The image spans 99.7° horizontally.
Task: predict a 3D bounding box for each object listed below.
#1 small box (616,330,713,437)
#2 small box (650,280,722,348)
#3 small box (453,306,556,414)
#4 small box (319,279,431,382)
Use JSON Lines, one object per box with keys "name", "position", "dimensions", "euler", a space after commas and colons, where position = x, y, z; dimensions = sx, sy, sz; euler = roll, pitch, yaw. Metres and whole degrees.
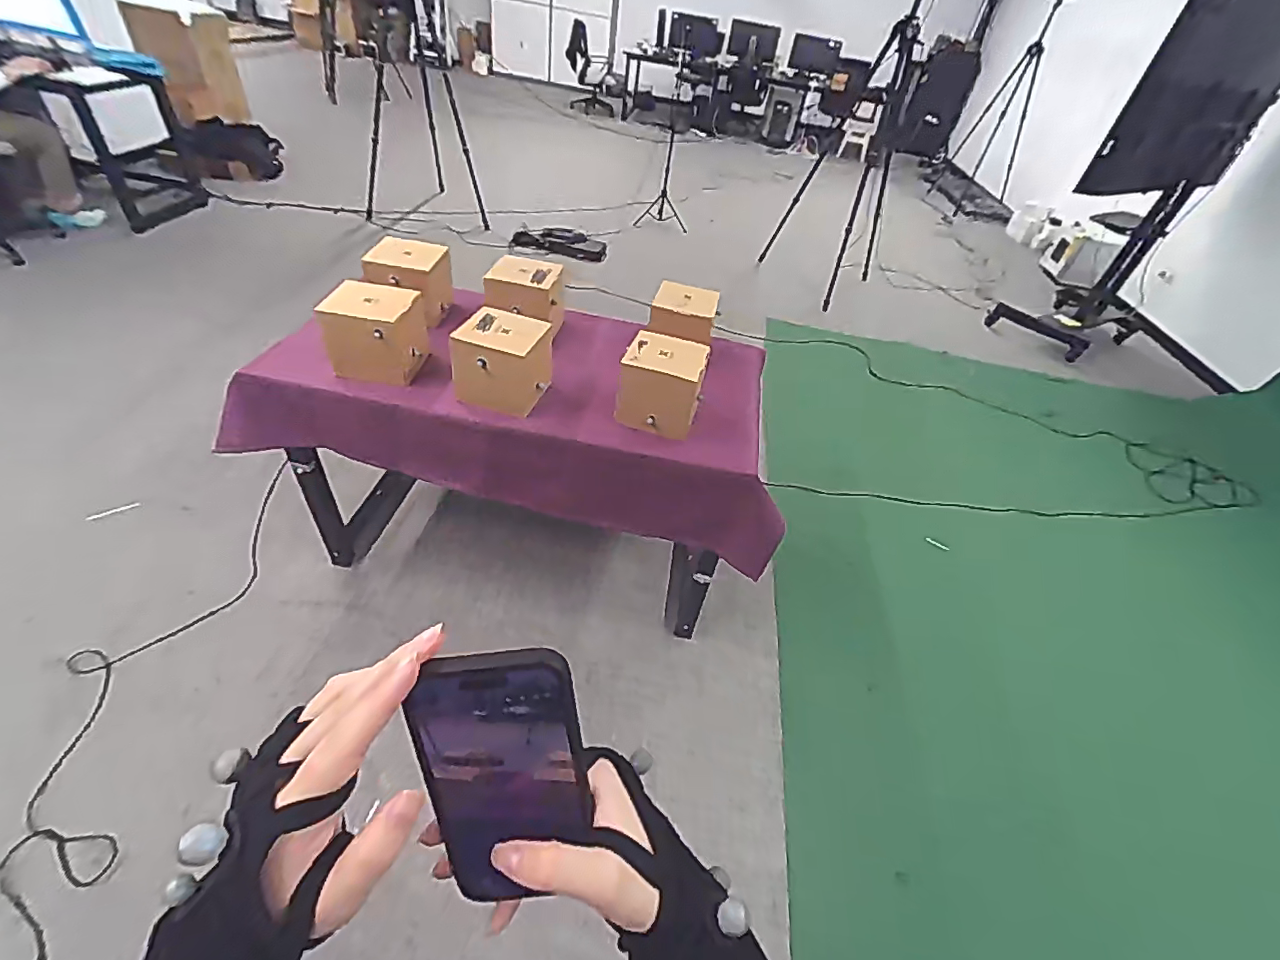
{"name": "small box", "position": [0.056, -0.224, 1.277], "dimensions": [0.179, 0.176, 0.168], "euler": [17, 43, 6]}
{"name": "small box", "position": [0.122, -0.428, 1.506], "dimensions": [0.168, 0.176, 0.179], "euler": [14, 44, 4]}
{"name": "small box", "position": [-0.311, -0.278, 1.261], "dimensions": [0.179, 0.176, 0.168], "euler": [17, 43, 5]}
{"name": "small box", "position": [-0.615, -0.351, 1.280], "dimensions": [0.179, 0.176, 0.168], "euler": [9, 42, -4]}
